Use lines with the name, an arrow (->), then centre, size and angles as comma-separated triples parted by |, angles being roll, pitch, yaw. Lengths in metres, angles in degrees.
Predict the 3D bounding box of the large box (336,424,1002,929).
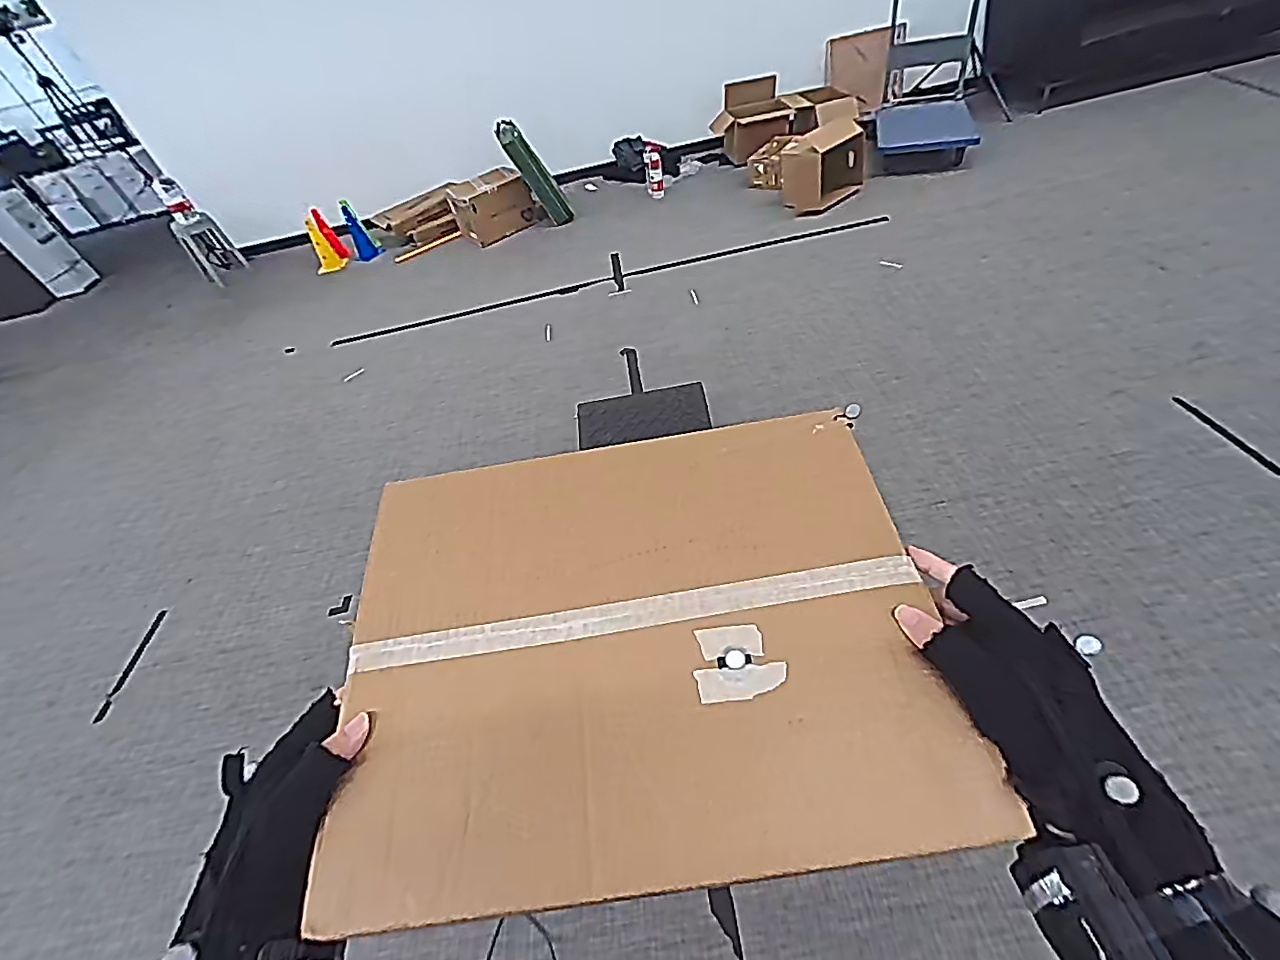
large box -> 0.012, 0.191, 0.519 | 0.408, 0.320, 0.320 | -9, 55, 1
